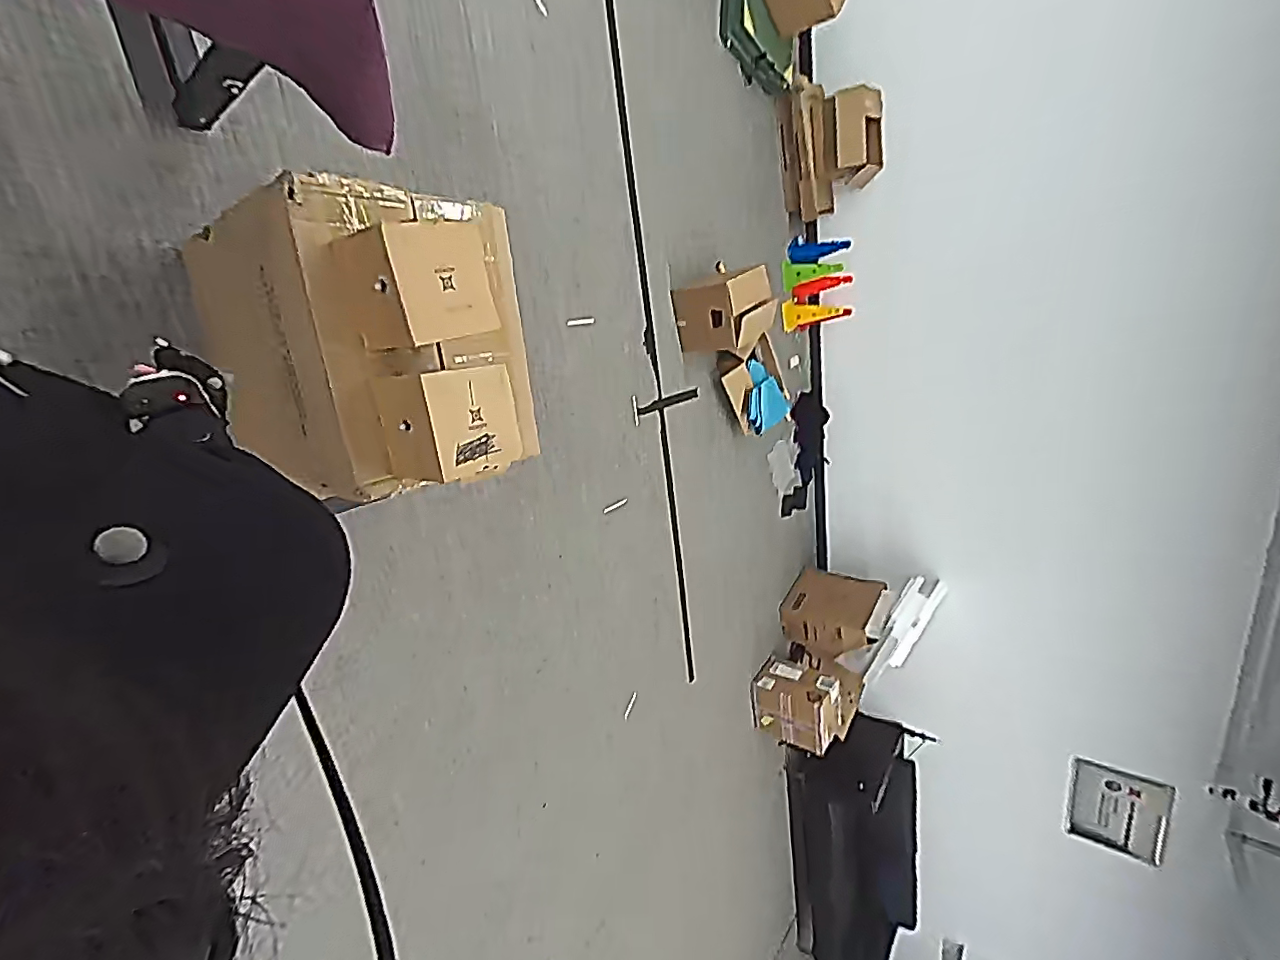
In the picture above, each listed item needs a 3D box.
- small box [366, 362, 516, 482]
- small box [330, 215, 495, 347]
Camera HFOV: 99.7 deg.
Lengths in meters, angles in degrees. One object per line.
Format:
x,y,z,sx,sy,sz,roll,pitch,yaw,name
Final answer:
-0.344,-0.106,0.941,0.168,0.176,0.179,-24,111,-48,small box
-0.370,-0.320,0.881,0.168,0.176,0.179,-29,119,-45,small box
